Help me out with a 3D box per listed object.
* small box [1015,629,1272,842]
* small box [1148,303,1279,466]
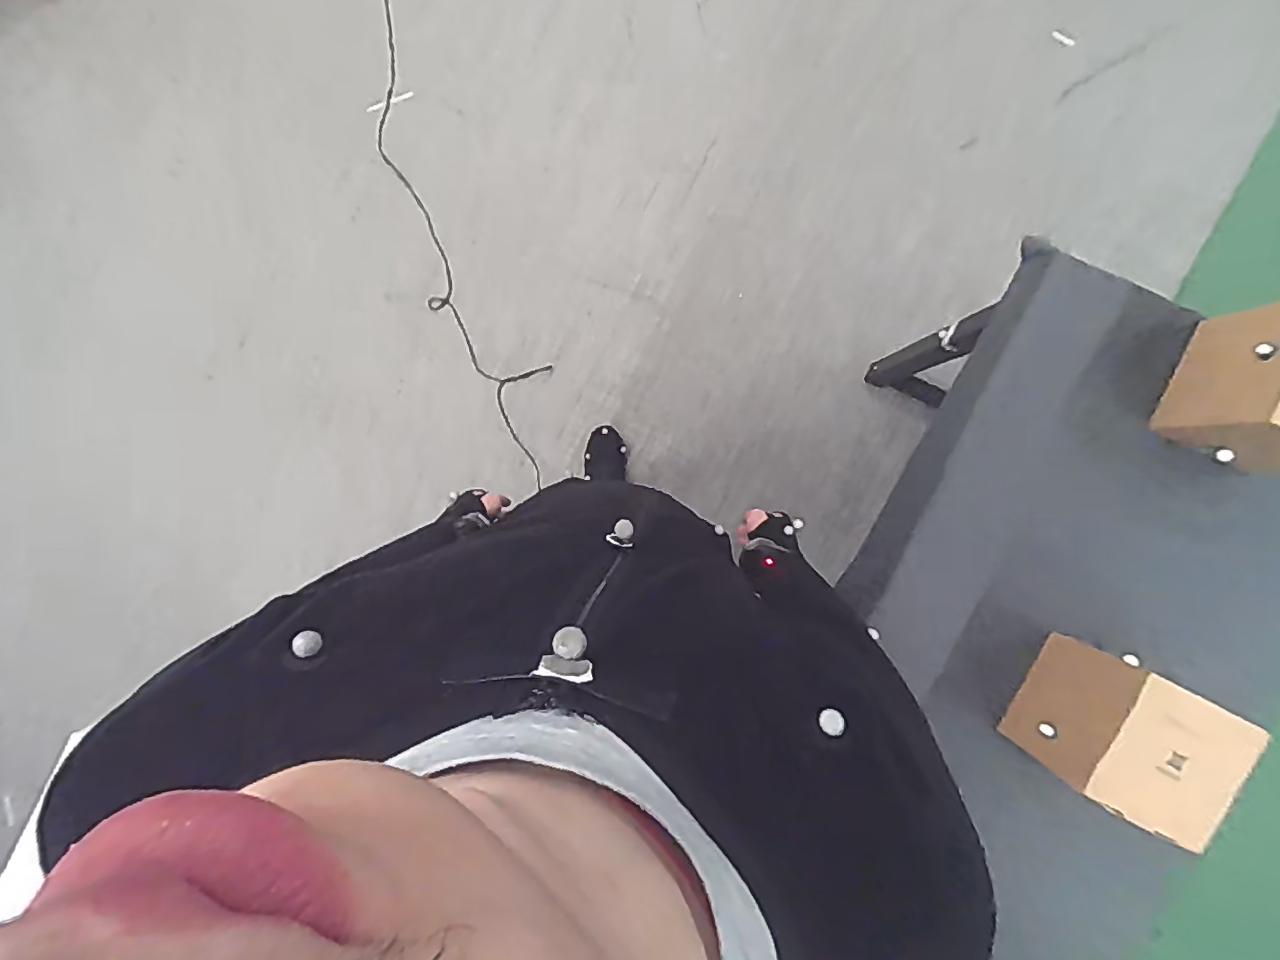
[{"bbox_3d":[0.667,0.335,0.743,0.168,0.176,0.179,26,89,-2],"label":"small box"},{"bbox_3d":[0.863,-0.129,0.735,0.168,0.176,0.179,23,92,0],"label":"small box"}]
